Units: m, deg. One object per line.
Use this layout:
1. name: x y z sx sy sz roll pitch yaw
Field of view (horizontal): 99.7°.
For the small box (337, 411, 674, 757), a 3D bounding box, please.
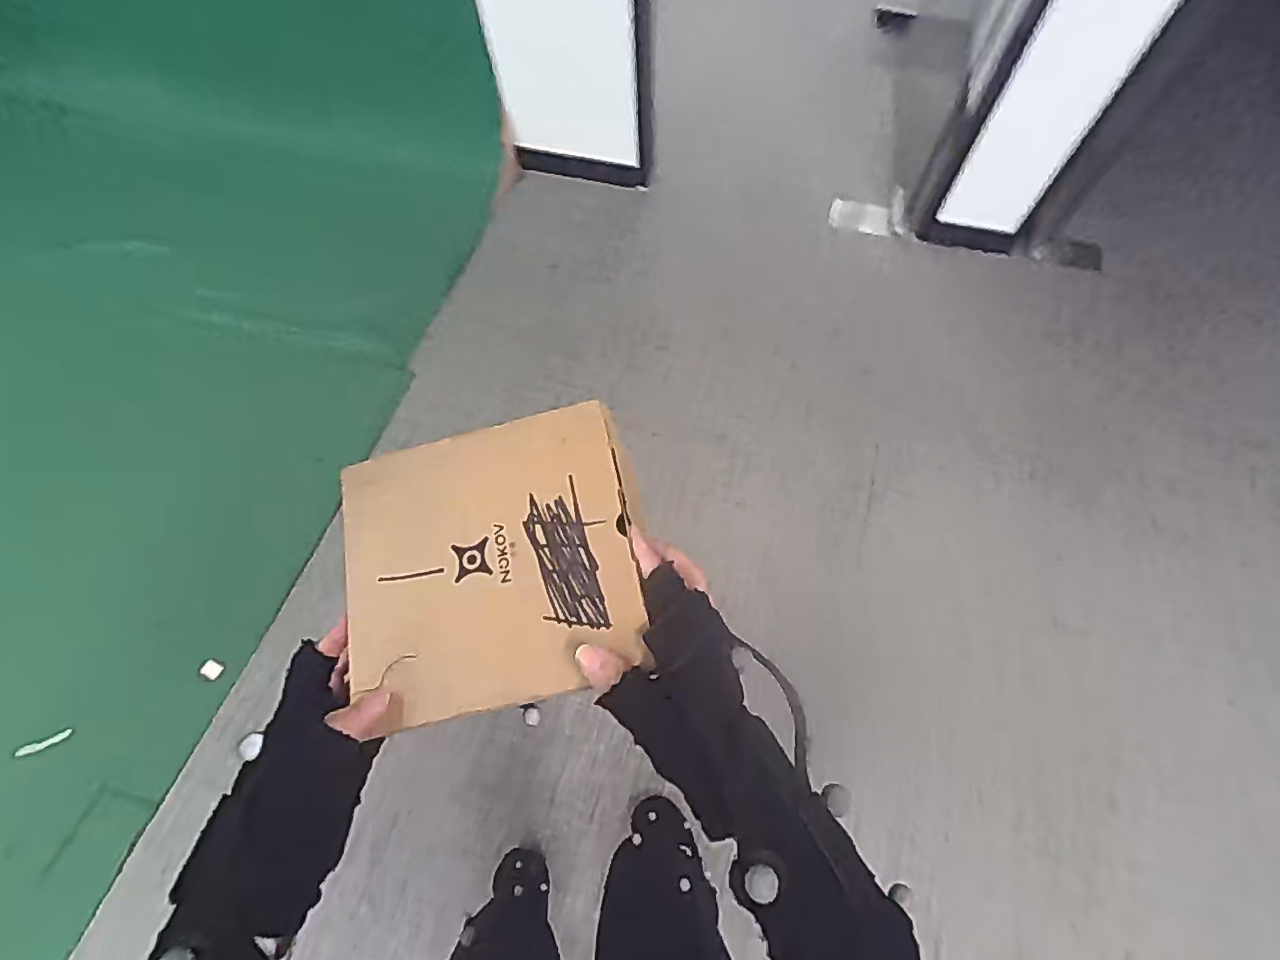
1. small box: -0.081 0.077 0.394 0.179 0.176 0.168 -18 71 -1
